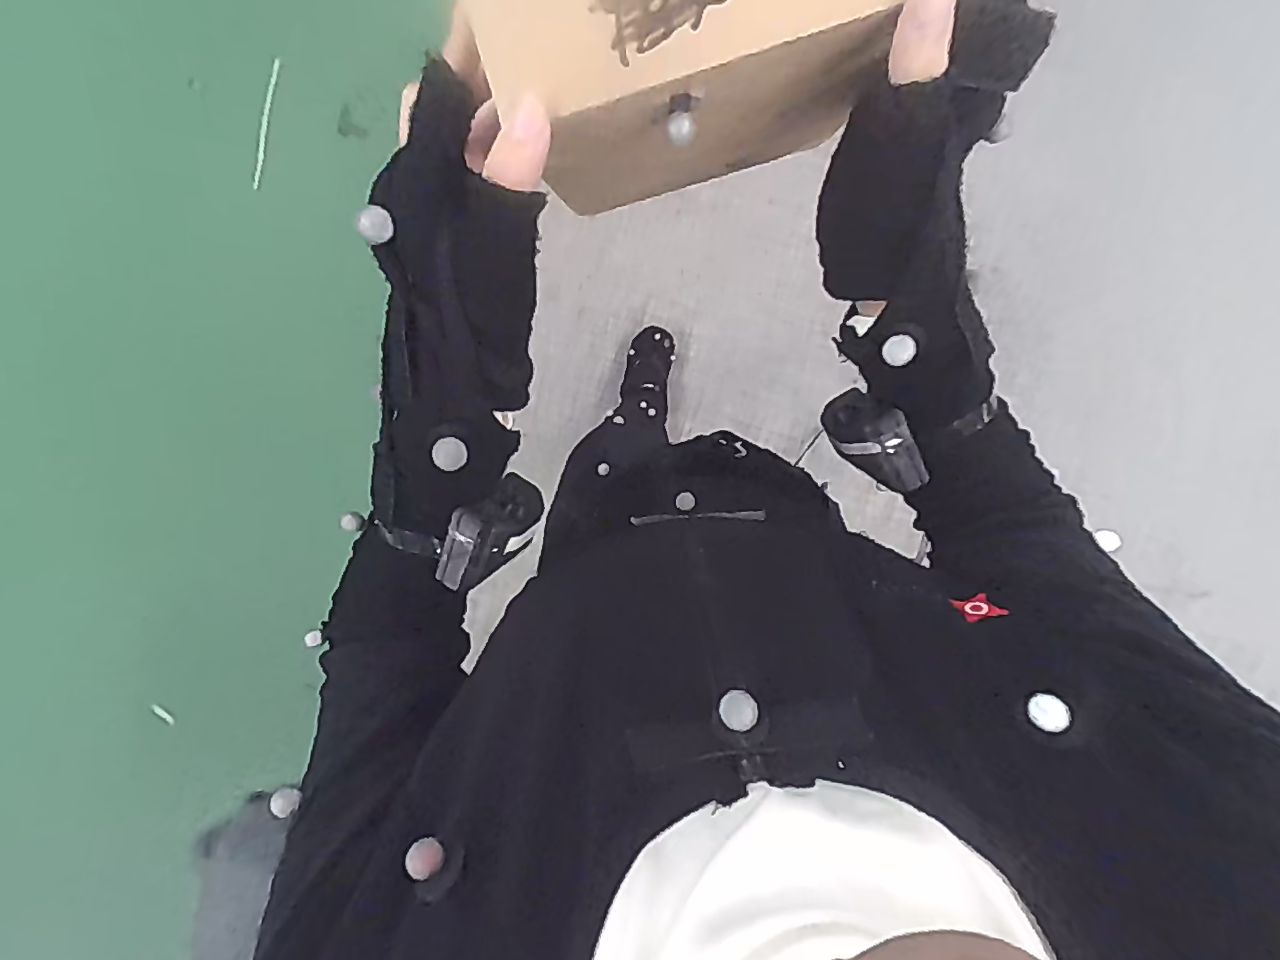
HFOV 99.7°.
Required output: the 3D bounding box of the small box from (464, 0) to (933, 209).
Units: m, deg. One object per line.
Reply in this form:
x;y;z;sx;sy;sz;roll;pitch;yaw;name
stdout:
0.011;-0.250;0.245;0.168;0.176;0.179;-13;105;8;small box
